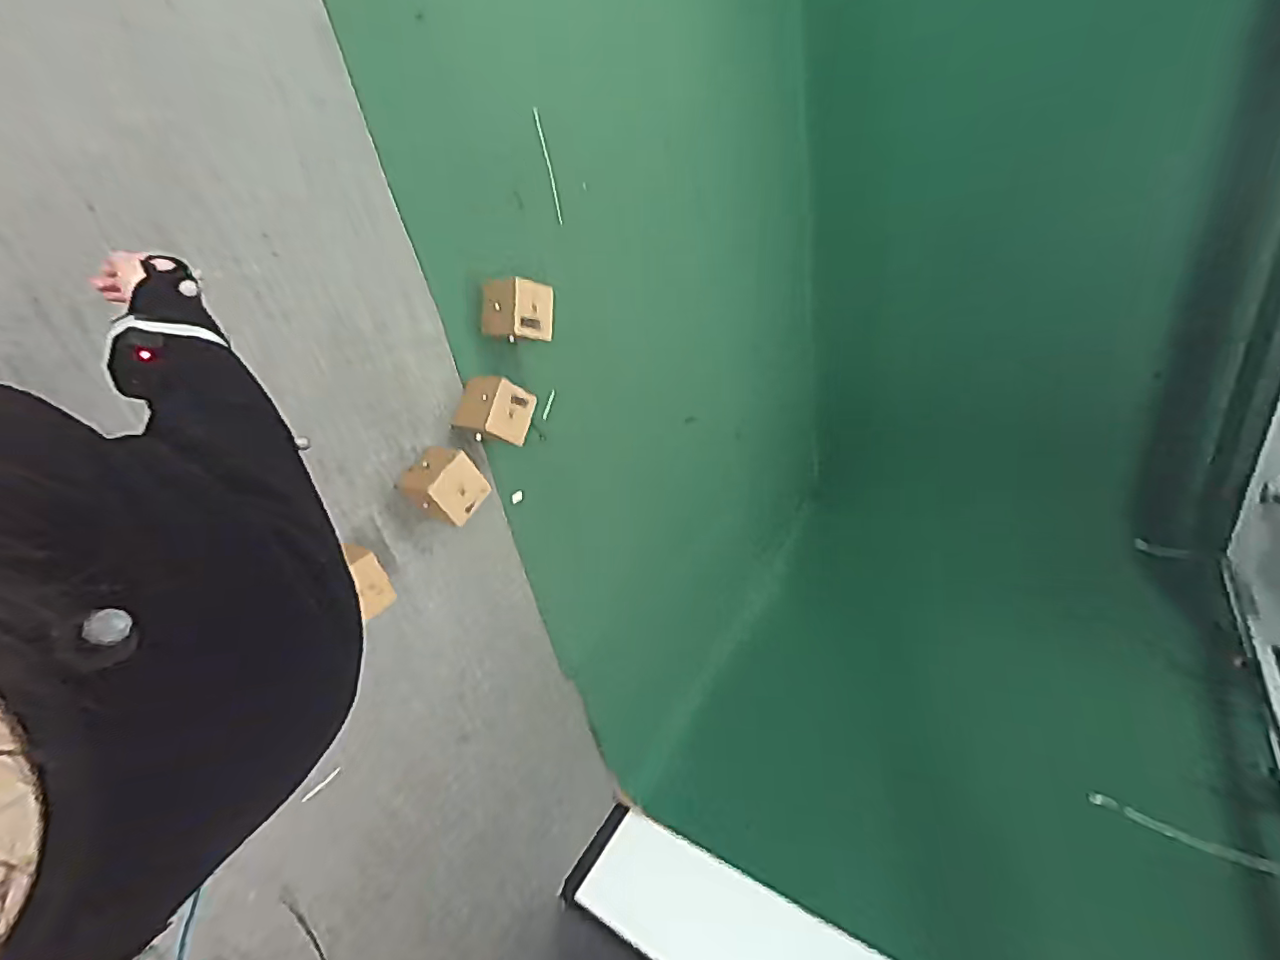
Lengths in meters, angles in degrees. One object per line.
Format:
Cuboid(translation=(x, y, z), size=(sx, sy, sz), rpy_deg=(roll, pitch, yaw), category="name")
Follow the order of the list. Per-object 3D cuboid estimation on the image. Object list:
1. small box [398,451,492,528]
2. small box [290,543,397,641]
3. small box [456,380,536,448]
Cuboid(translation=(-0.603, 0.024, 1.669), size=(0.168, 0.176, 0.179), rpy_deg=(-57, 137, -31), category="small box")
Cuboid(translation=(-0.800, 0.293, 1.451), size=(0.179, 0.176, 0.168), rpy_deg=(-41, 129, -41), category="small box")
Cuboid(translation=(-0.480, -0.221, 1.788), size=(0.168, 0.176, 0.179), rpy_deg=(29, 74, -53), category="small box")
